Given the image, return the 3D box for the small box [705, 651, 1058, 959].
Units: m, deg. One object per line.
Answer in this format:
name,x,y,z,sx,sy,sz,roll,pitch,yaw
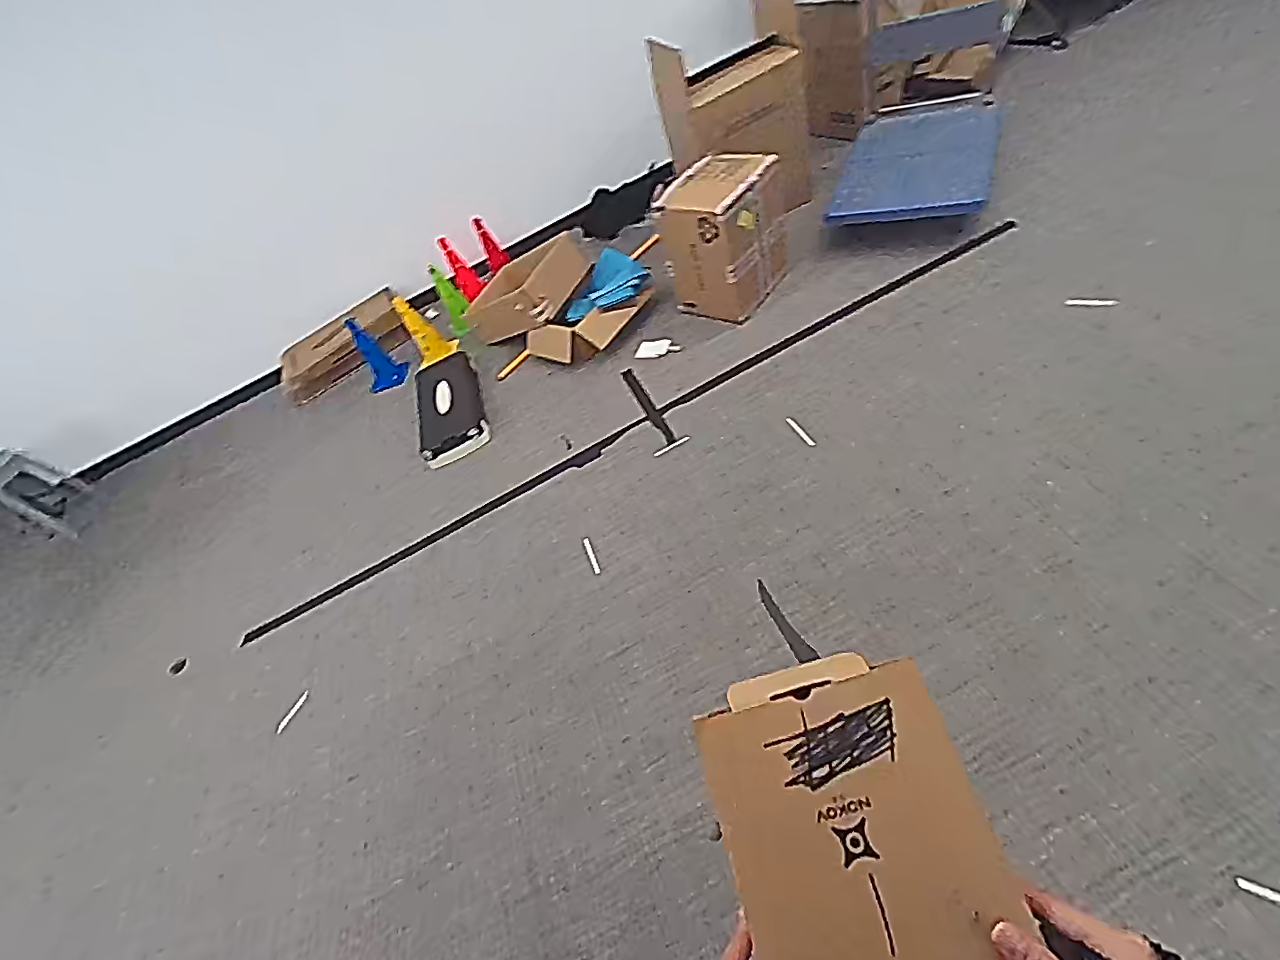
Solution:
small box,0.153,0.251,0.418,0.168,0.176,0.179,-16,64,2
